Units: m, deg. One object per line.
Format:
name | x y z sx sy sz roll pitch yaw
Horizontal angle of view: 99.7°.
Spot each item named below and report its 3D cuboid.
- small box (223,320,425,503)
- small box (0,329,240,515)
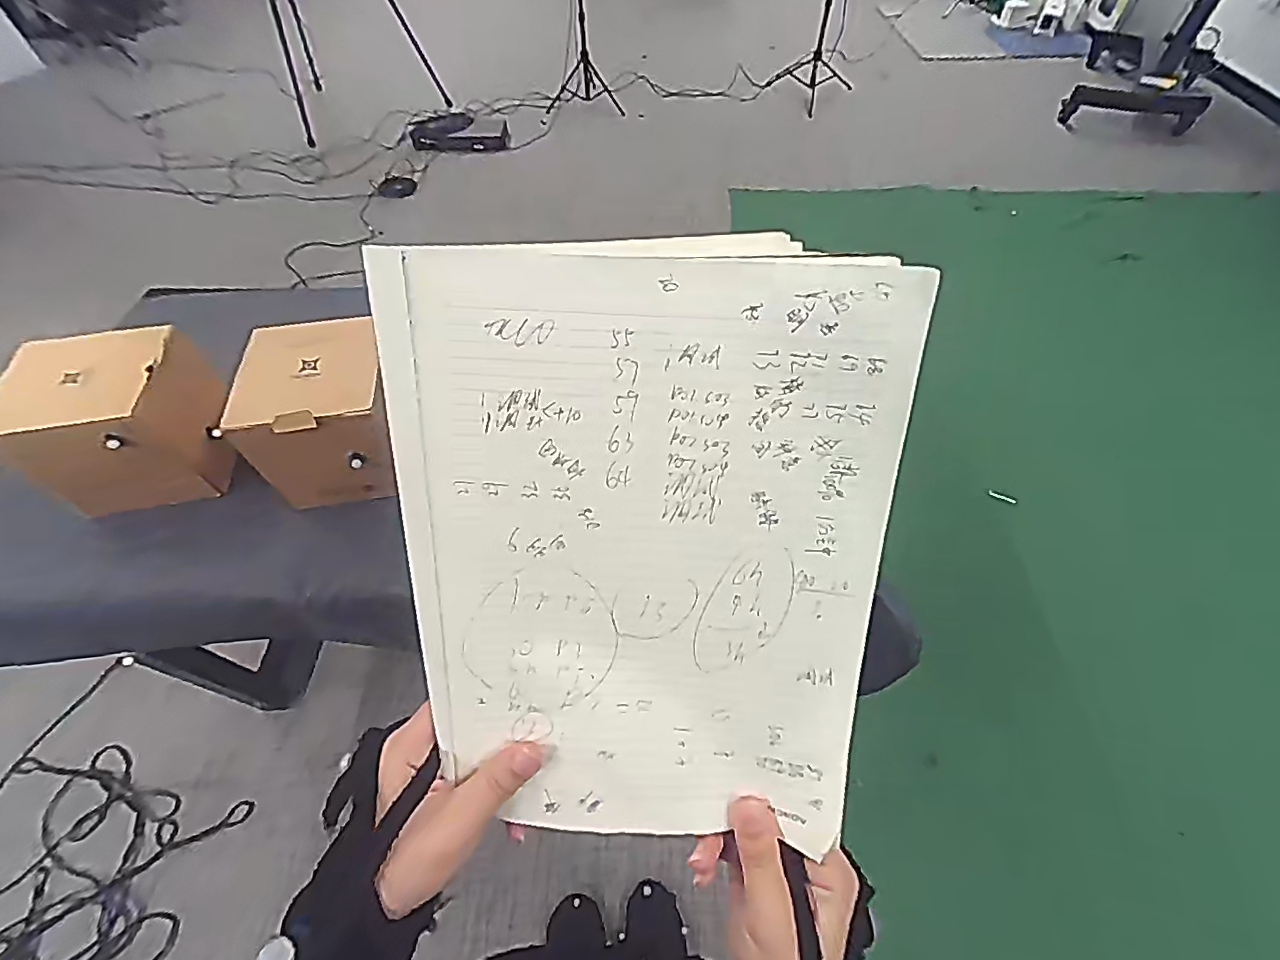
small box | -0.395 -0.083 0.716 0.168 0.176 0.179 -8 53 -7
small box | -0.668 -0.071 0.710 0.179 0.176 0.168 -10 54 -8
